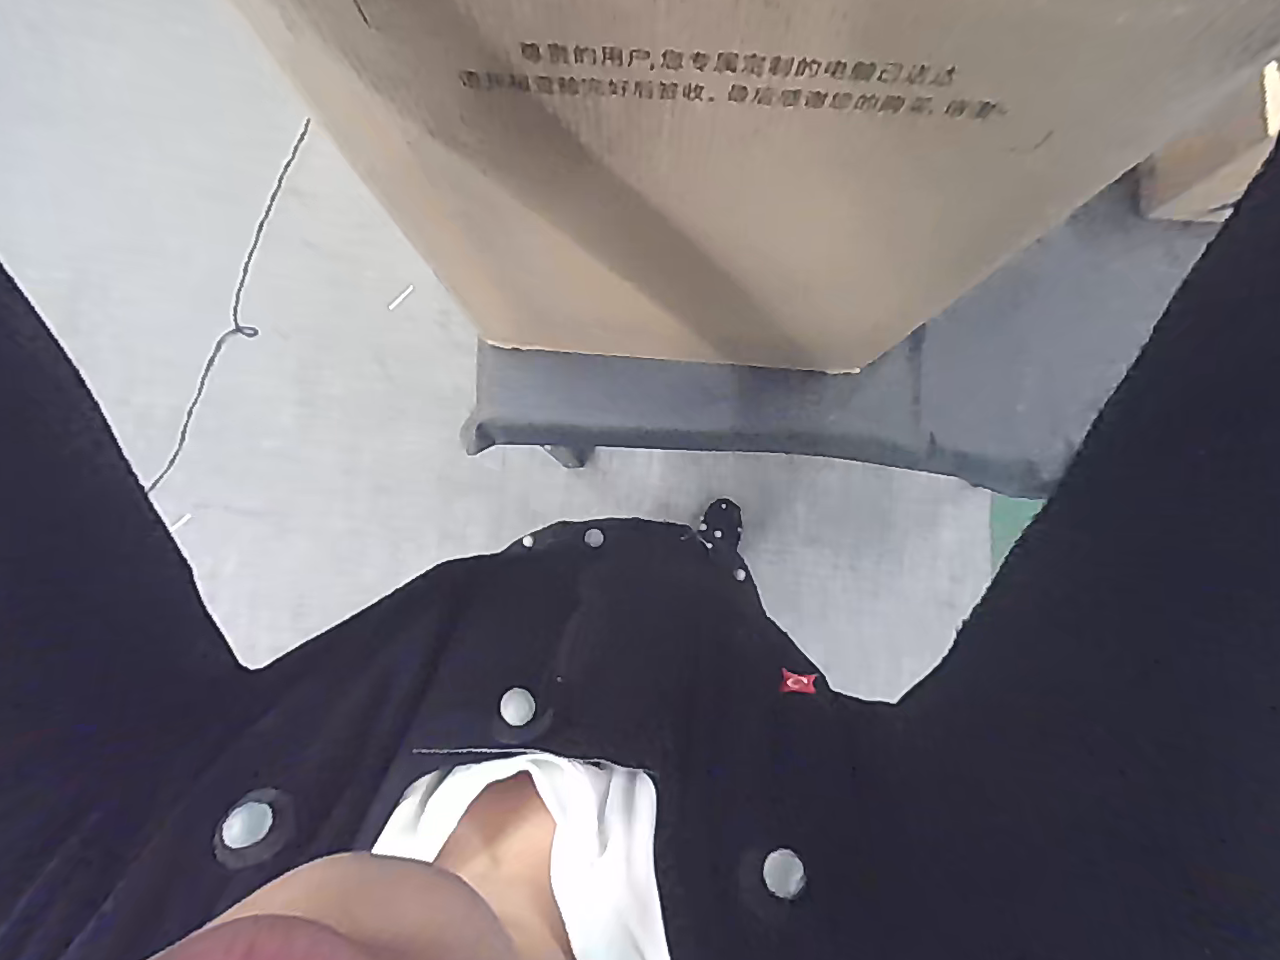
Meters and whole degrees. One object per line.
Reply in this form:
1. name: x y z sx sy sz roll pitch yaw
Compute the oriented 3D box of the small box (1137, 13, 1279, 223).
1. small box: 0.830 -0.470 0.726 0.179 0.176 0.168 3 85 0
